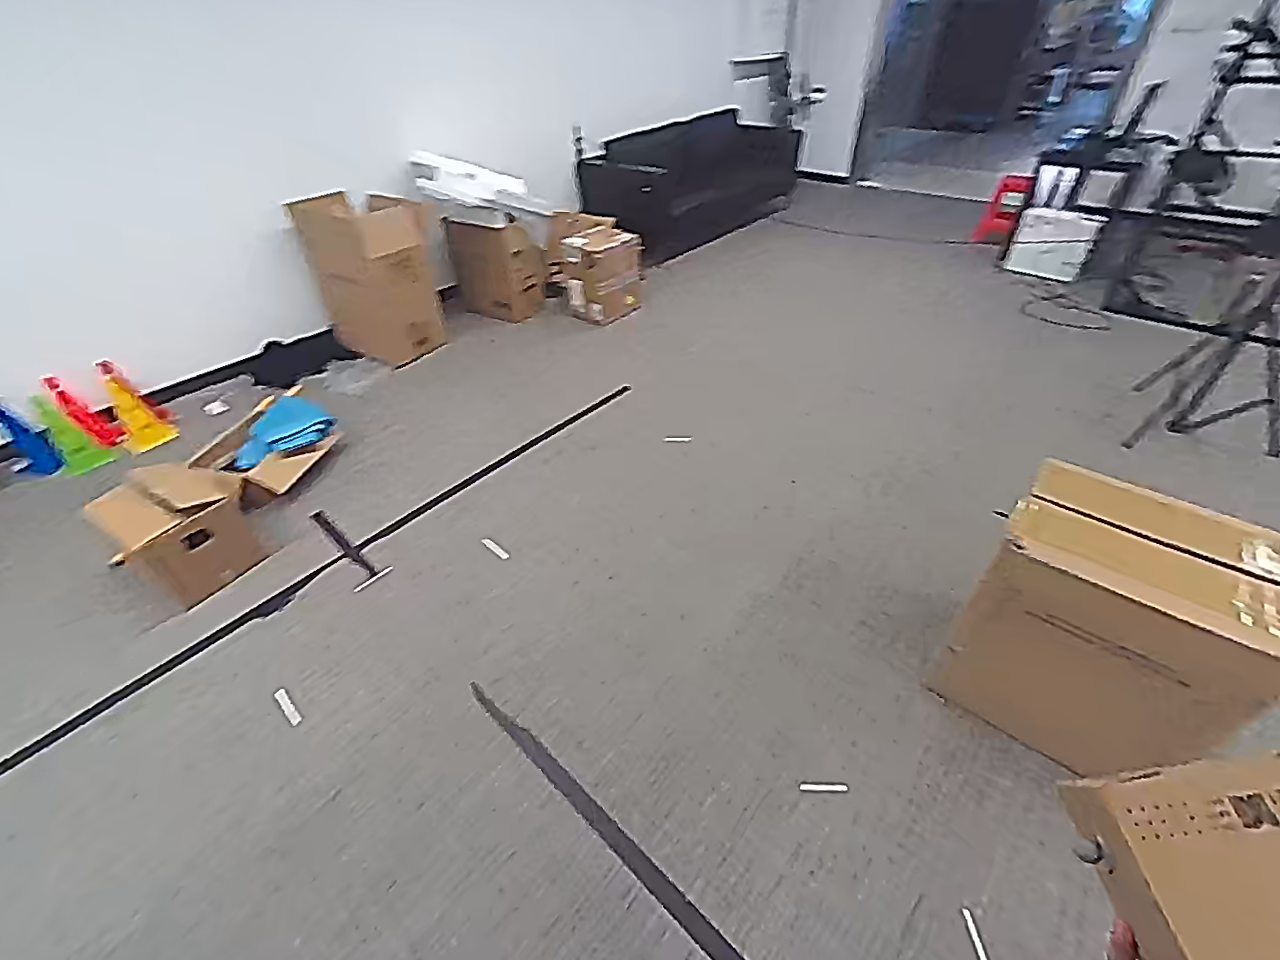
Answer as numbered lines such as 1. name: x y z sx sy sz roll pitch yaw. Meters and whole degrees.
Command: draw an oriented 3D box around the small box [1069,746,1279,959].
1. small box: 0.387 0.249 0.308 0.168 0.179 0.176 -21 55 20
